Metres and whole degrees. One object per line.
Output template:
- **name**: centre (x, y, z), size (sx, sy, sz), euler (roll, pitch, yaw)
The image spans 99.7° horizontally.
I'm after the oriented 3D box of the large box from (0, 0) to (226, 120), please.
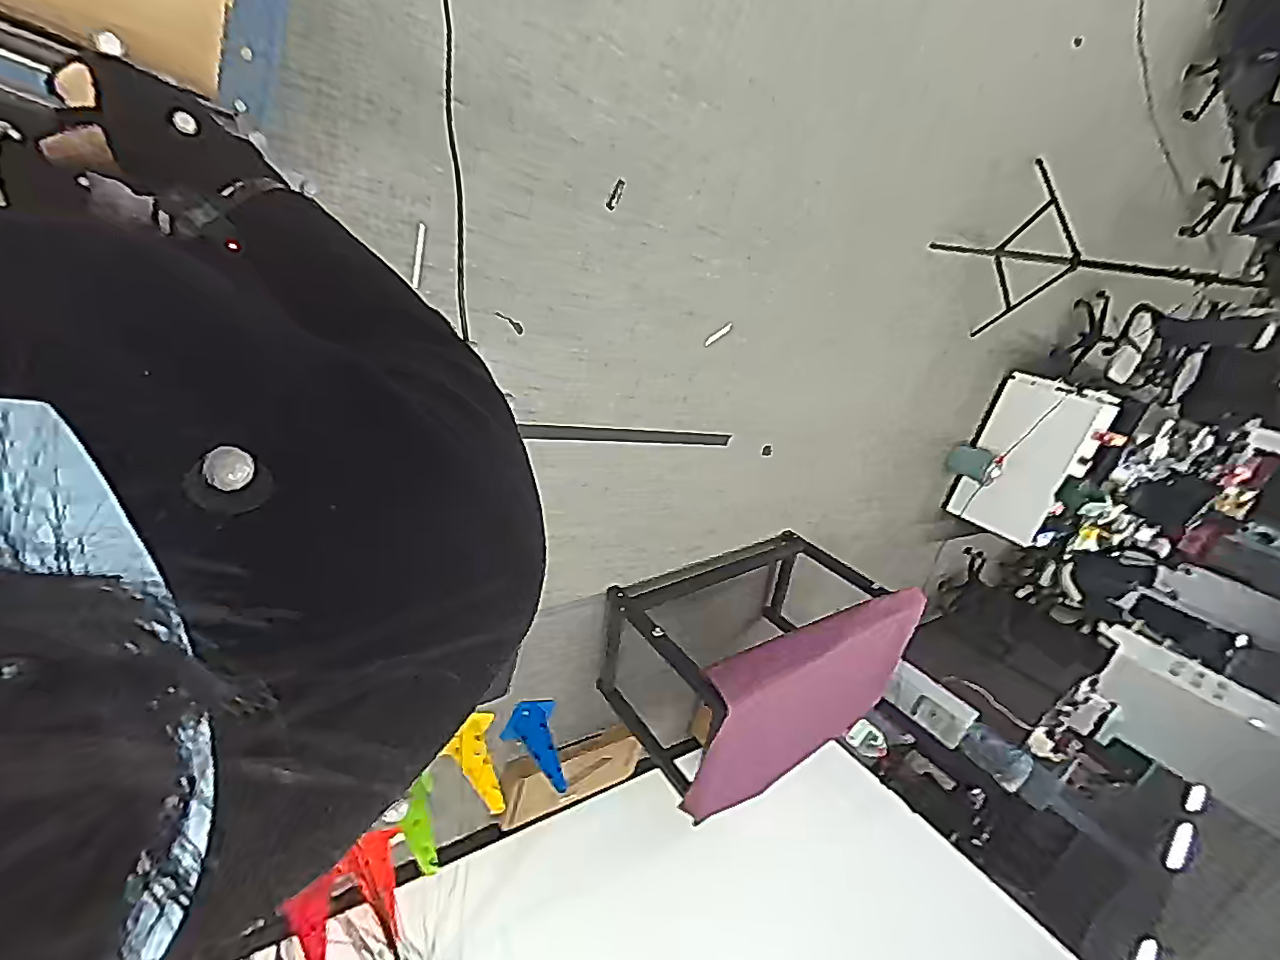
- **large box**: centre (-0.732, -0.682, 0.619), size (0.408, 0.320, 0.320), euler (5, 111, -42)
